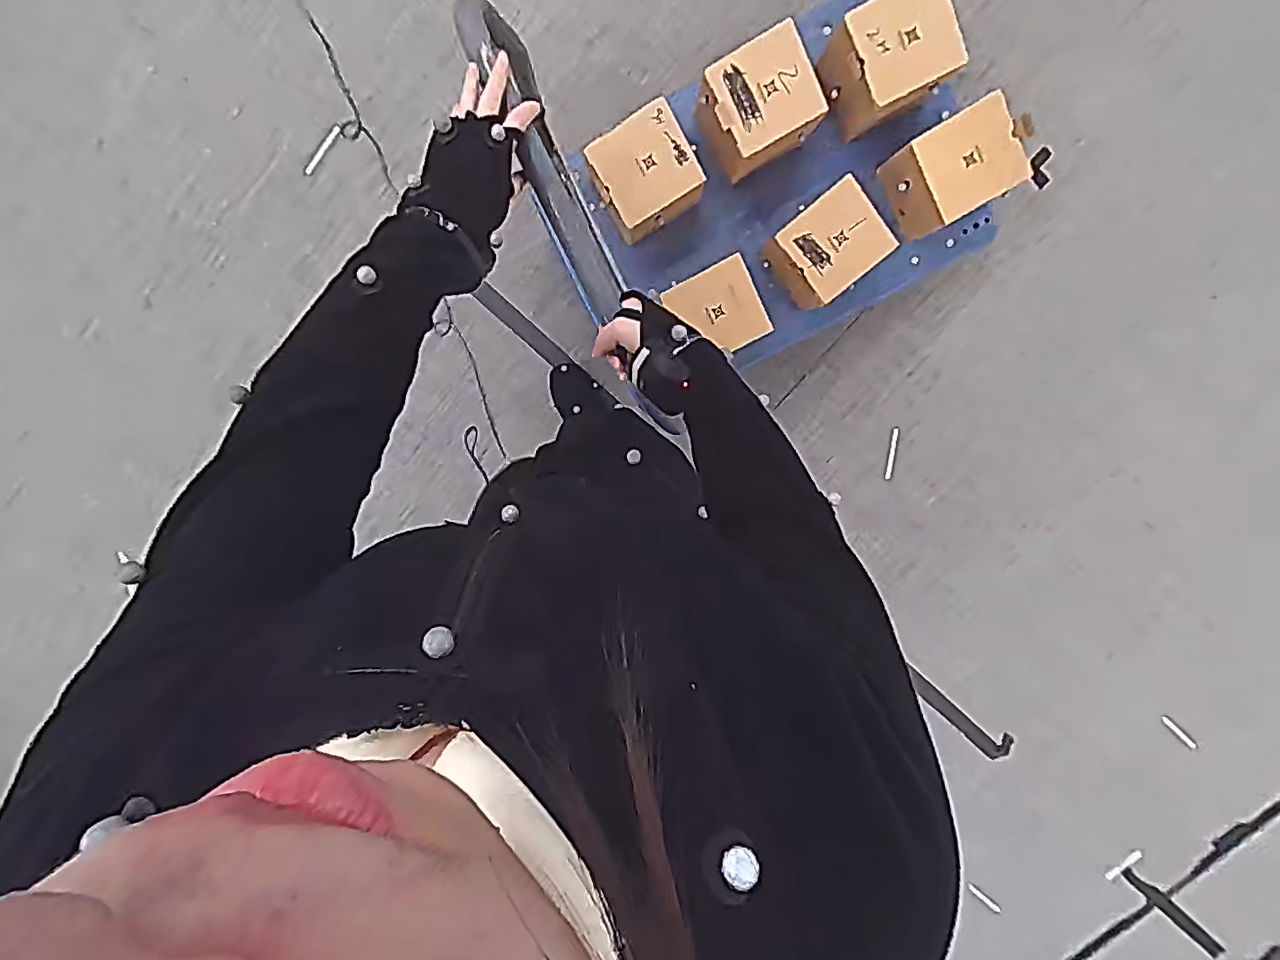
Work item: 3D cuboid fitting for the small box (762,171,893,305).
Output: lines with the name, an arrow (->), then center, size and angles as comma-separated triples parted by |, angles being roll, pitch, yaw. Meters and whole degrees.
small box -> 0.368, -0.480, 1.107 | 0.179, 0.176, 0.168 | -38, 100, 8

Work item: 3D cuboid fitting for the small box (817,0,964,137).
small box -> 0.467, -0.799, 1.030 | 0.179, 0.176, 0.168 | -24, 102, 7

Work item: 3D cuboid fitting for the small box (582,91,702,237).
small box -> 0.006, -0.613, 1.078 | 0.179, 0.176, 0.168 | -29, 102, 7

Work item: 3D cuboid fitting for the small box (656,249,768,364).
small box -> 0.144, -0.356, 1.139 | 0.179, 0.176, 0.168 | -26, 102, 6

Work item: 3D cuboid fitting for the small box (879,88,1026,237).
small box -> 0.604, -0.613, 1.074 | 0.179, 0.176, 0.168 | -29, 101, 7
